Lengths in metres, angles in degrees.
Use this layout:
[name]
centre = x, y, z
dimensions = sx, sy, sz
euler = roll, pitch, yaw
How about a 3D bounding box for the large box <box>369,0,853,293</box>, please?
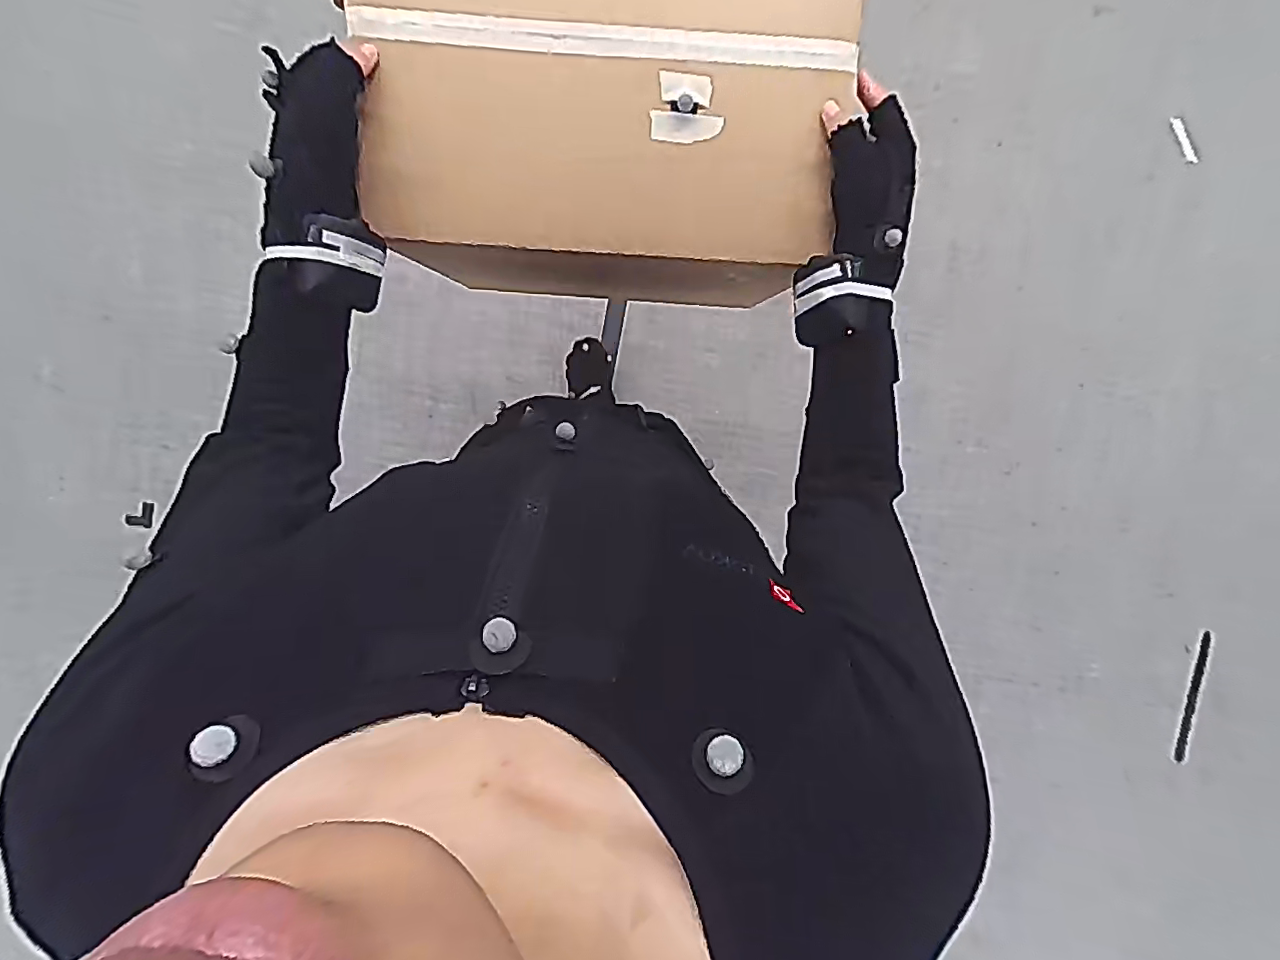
[large box]
centre = -0.029, -0.393, 0.593
dimensions = 0.408, 0.320, 0.320
euler = 3, 103, -2
